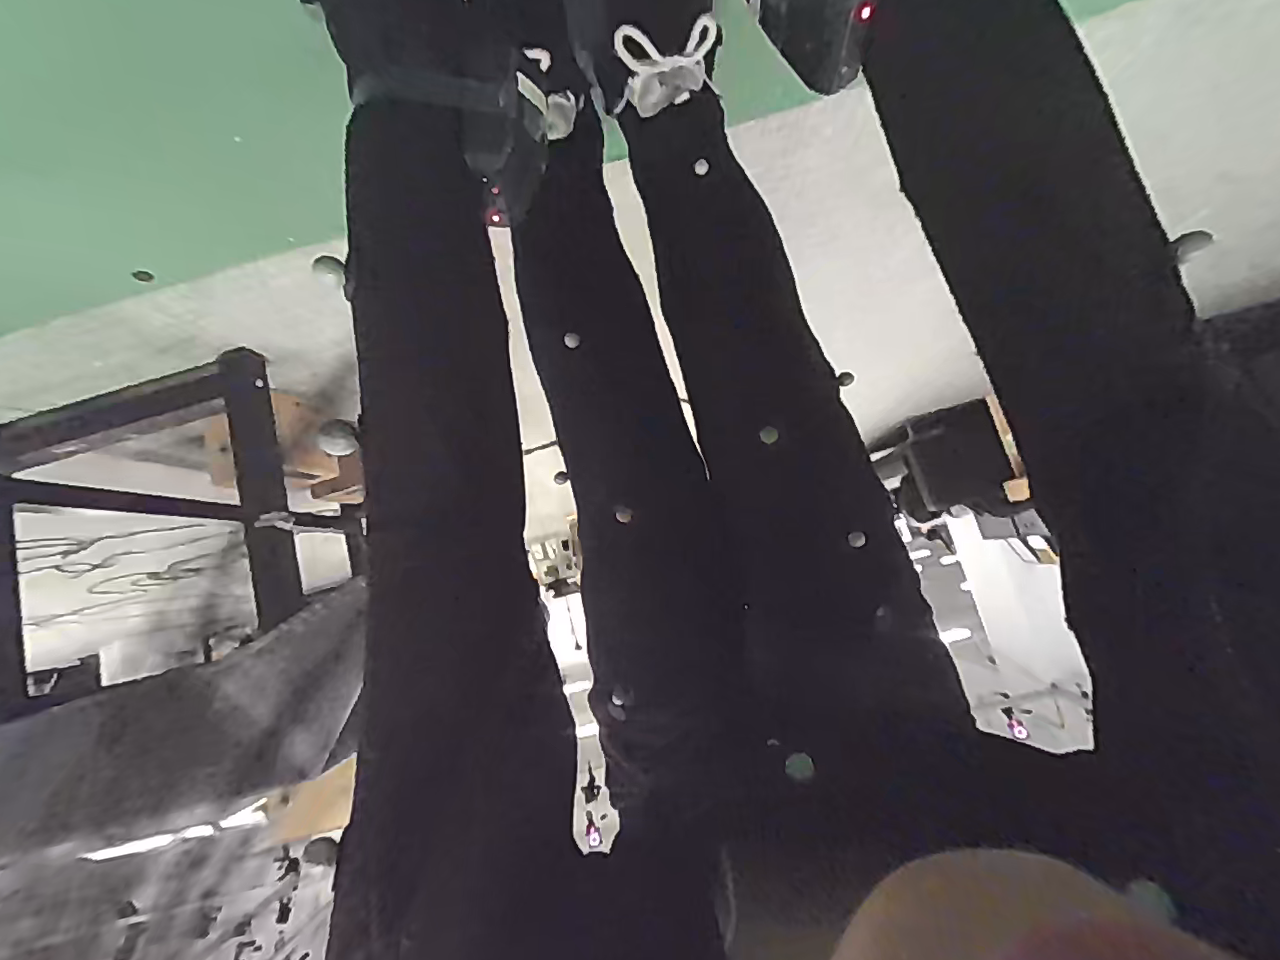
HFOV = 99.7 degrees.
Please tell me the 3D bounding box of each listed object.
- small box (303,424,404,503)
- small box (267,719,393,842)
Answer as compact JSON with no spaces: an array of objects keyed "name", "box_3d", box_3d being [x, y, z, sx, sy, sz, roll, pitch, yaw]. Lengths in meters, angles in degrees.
[{"name":"small box","box_3d":[-0.780,-0.045,1.473,0.168,0.176,0.179,-15,173,4]},{"name":"small box","box_3d":[-0.669,0.637,1.169,0.179,0.176,0.168,-15,173,5]}]
